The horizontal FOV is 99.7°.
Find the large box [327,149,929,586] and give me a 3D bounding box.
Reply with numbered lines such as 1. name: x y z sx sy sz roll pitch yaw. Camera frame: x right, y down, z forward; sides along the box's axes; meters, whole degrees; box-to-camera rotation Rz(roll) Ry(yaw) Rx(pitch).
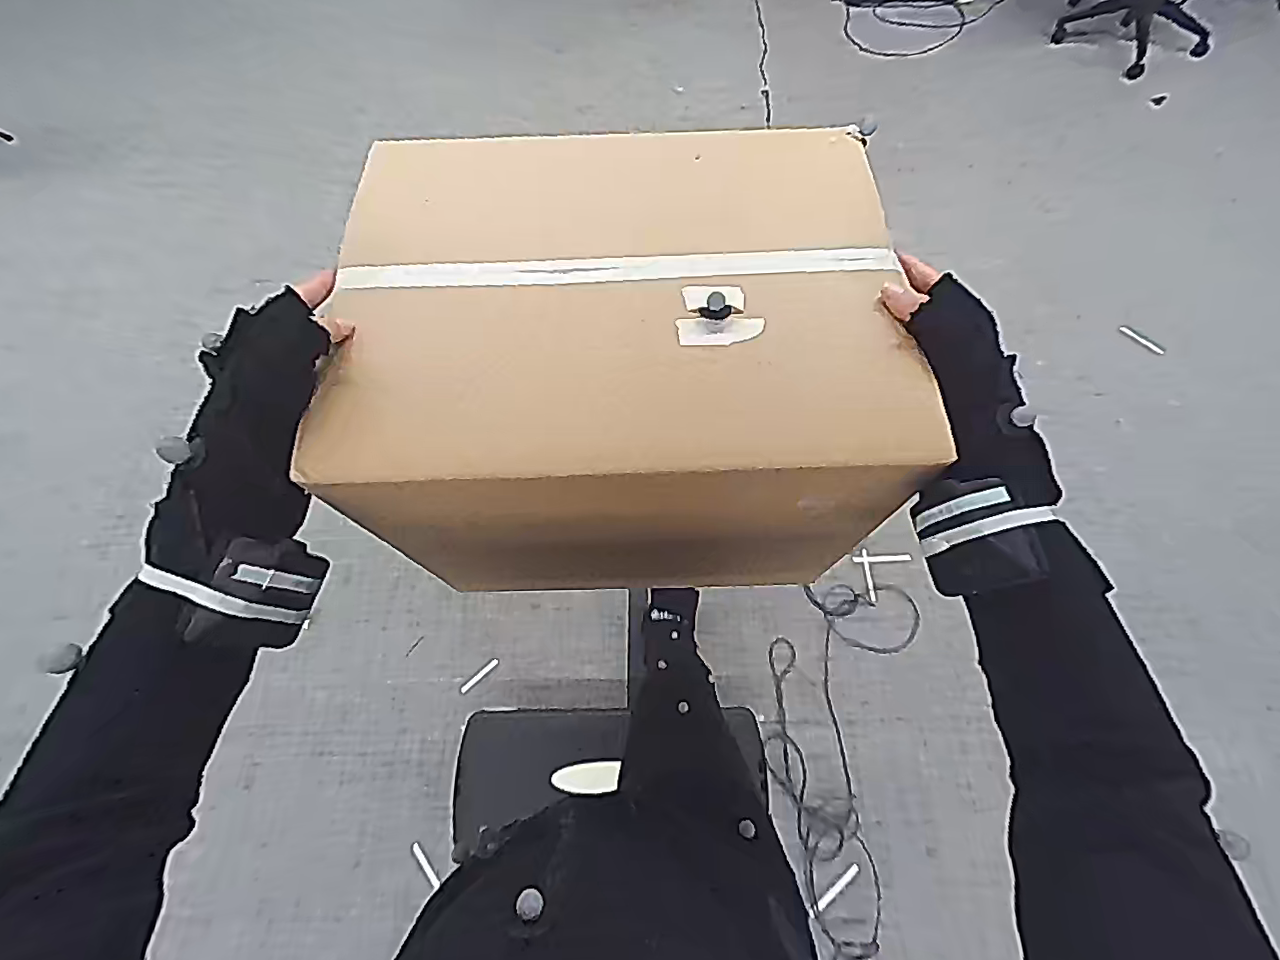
1. large box: -0.012 -0.086 0.548 0.408 0.320 0.320 -2 66 0
